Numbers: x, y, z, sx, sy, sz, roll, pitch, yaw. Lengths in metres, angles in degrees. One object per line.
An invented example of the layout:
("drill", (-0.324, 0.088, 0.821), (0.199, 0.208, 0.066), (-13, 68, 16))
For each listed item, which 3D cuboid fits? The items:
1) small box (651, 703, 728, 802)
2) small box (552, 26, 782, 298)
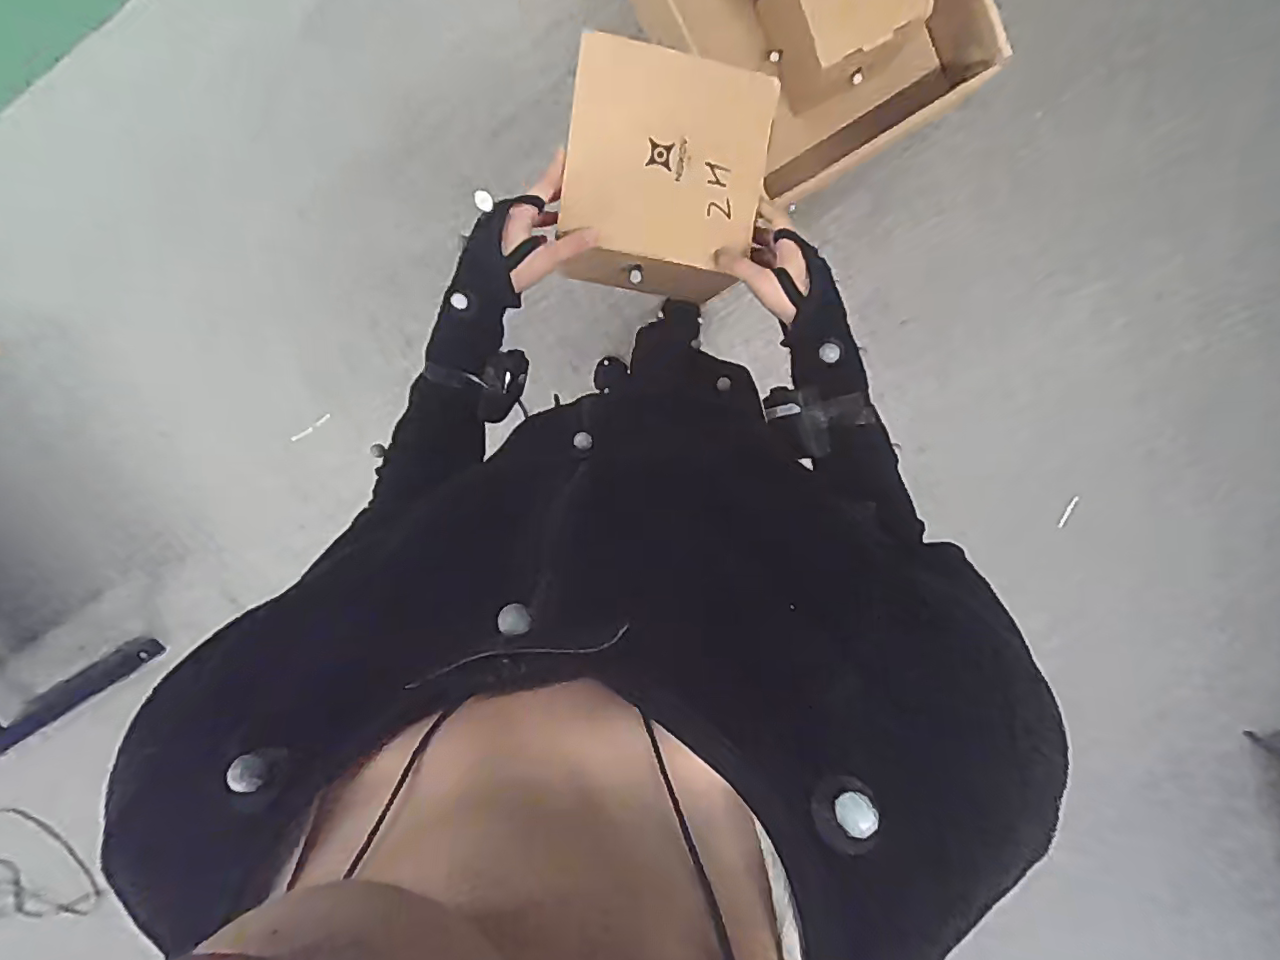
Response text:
("small box", (0.143, 0.815, 1.633), (0.179, 0.176, 0.168), (-31, 101, 9))
("small box", (0.014, -0.290, 0.540), (0.179, 0.176, 0.168), (9, 99, -9))
